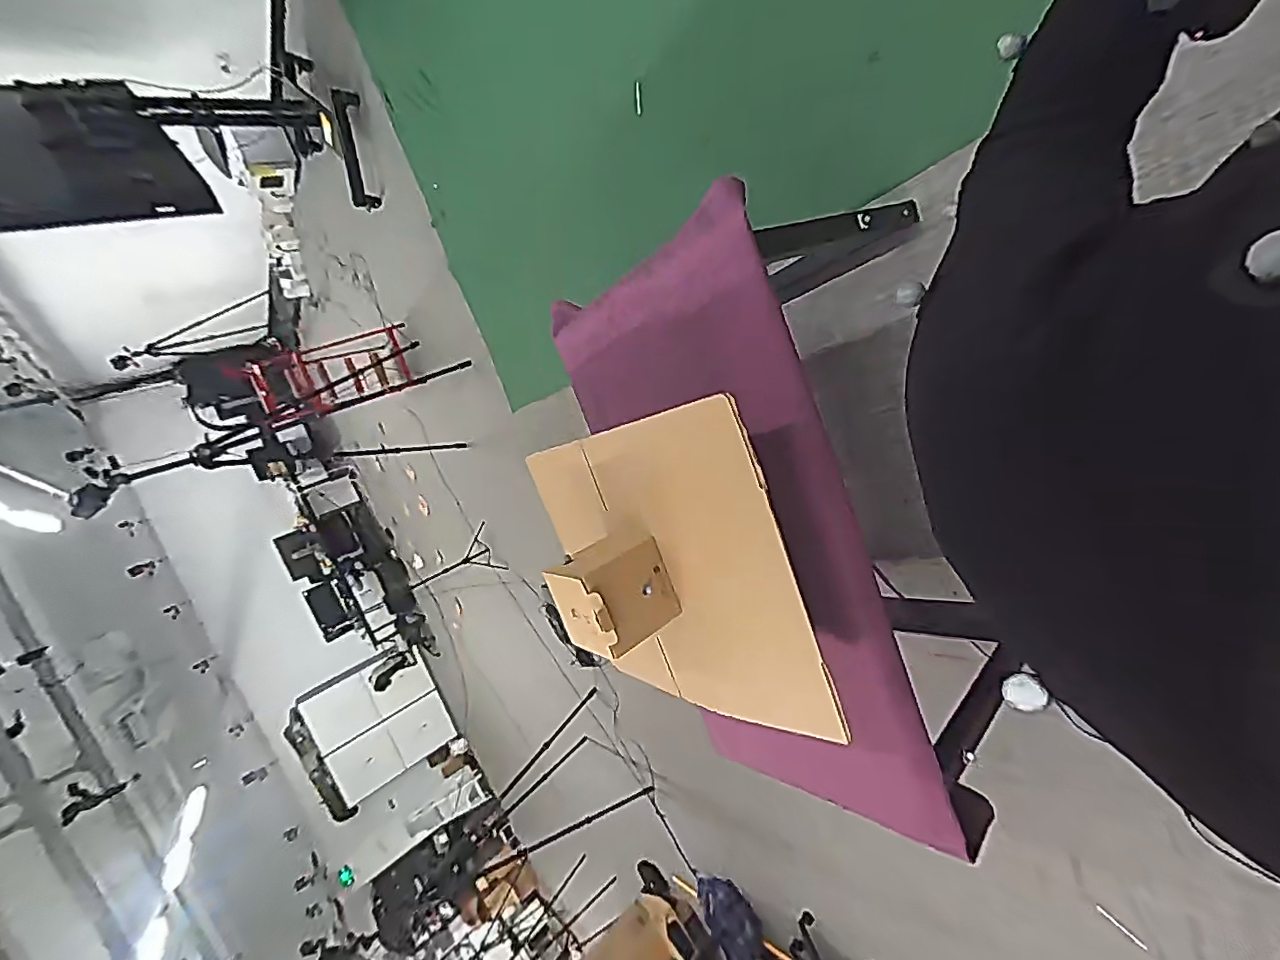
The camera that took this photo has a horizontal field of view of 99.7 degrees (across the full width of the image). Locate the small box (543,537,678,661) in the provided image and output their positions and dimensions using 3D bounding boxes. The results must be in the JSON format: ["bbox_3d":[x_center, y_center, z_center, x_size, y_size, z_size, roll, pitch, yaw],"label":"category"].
[{"bbox_3d":[-0.057,0.220,1.052,0.179,0.176,0.168,-8,106,55],"label":"small box"}]
